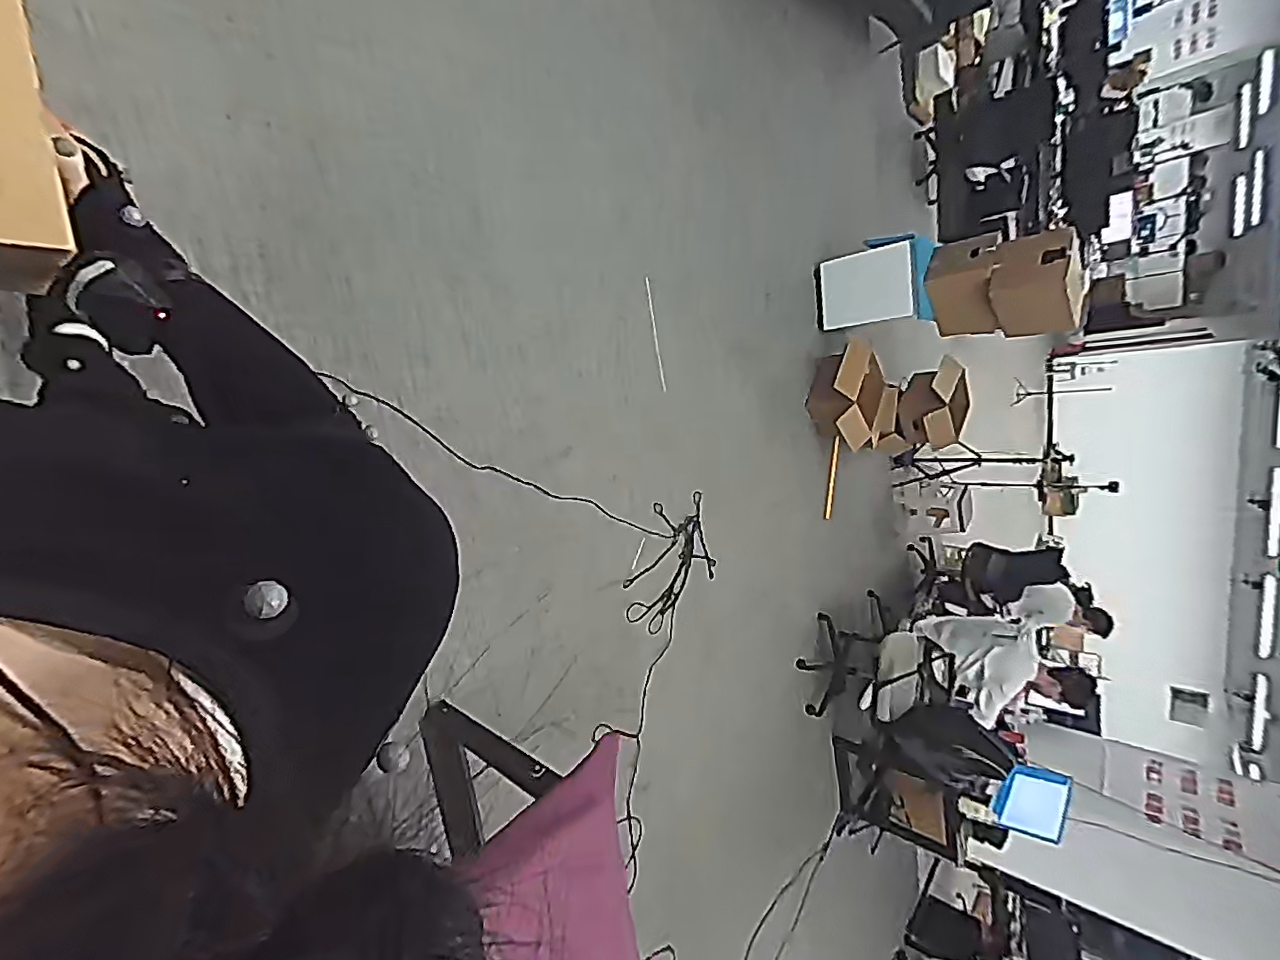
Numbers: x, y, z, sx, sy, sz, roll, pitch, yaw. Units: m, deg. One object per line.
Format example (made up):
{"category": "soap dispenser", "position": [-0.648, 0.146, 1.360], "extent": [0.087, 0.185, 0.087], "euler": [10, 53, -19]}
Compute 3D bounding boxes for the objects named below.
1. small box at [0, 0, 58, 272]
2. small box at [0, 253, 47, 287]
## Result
{"category": "small box", "position": [-0.483, -0.232, 0.320], "extent": [0.168, 0.176, 0.179], "euler": [-14, 106, -49]}
{"category": "small box", "position": [-0.611, -0.255, 0.423], "extent": [0.179, 0.176, 0.168], "euler": [-12, 105, -50]}
